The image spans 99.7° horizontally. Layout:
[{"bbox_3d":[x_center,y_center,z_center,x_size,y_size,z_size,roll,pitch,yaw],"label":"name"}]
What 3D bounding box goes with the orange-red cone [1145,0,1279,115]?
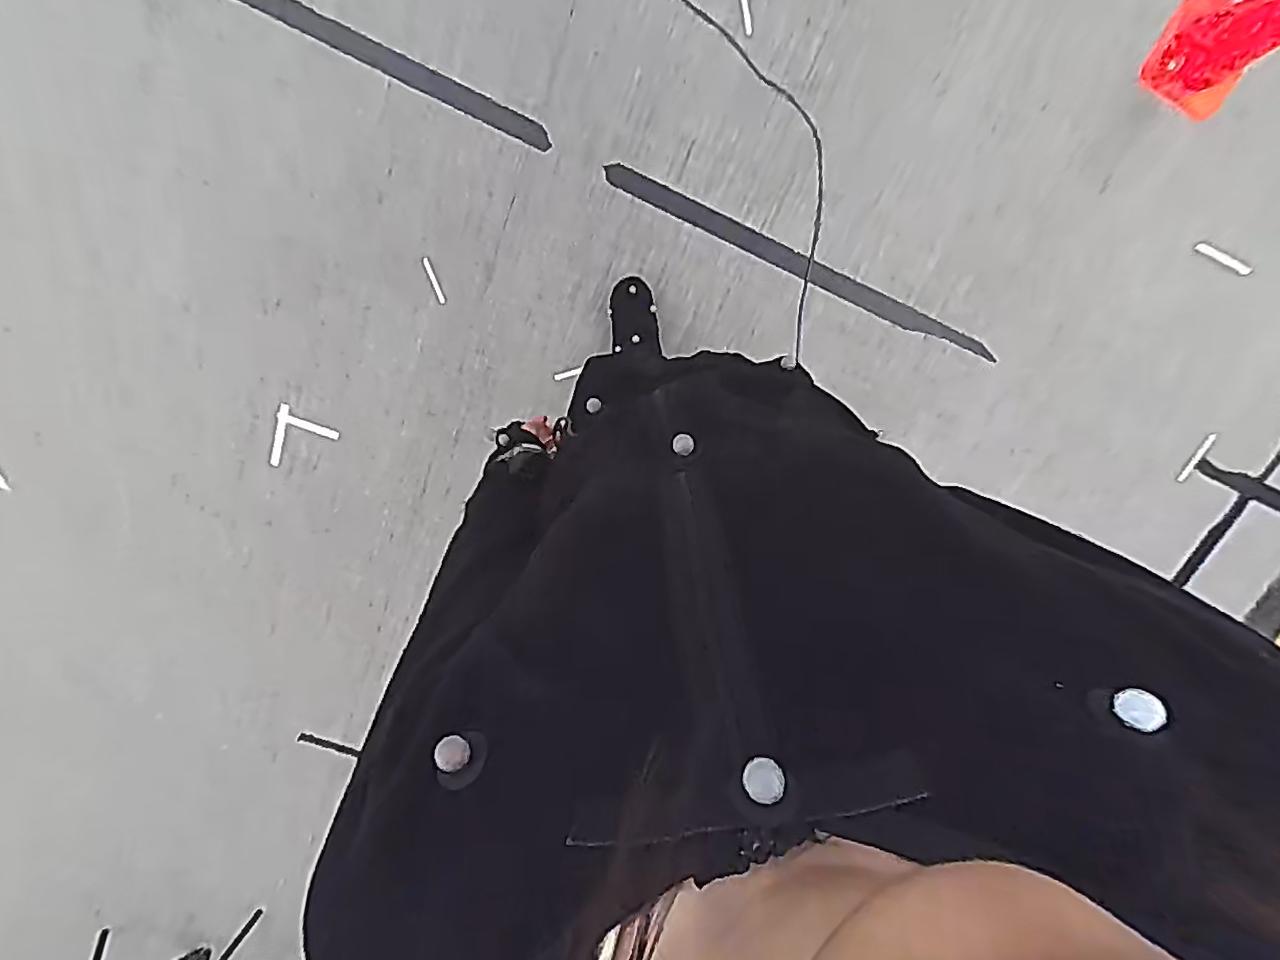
[{"bbox_3d":[1.195,-0.855,0.973,0.199,0.360,0.198,26,106,-8],"label":"orange-red cone"}]
